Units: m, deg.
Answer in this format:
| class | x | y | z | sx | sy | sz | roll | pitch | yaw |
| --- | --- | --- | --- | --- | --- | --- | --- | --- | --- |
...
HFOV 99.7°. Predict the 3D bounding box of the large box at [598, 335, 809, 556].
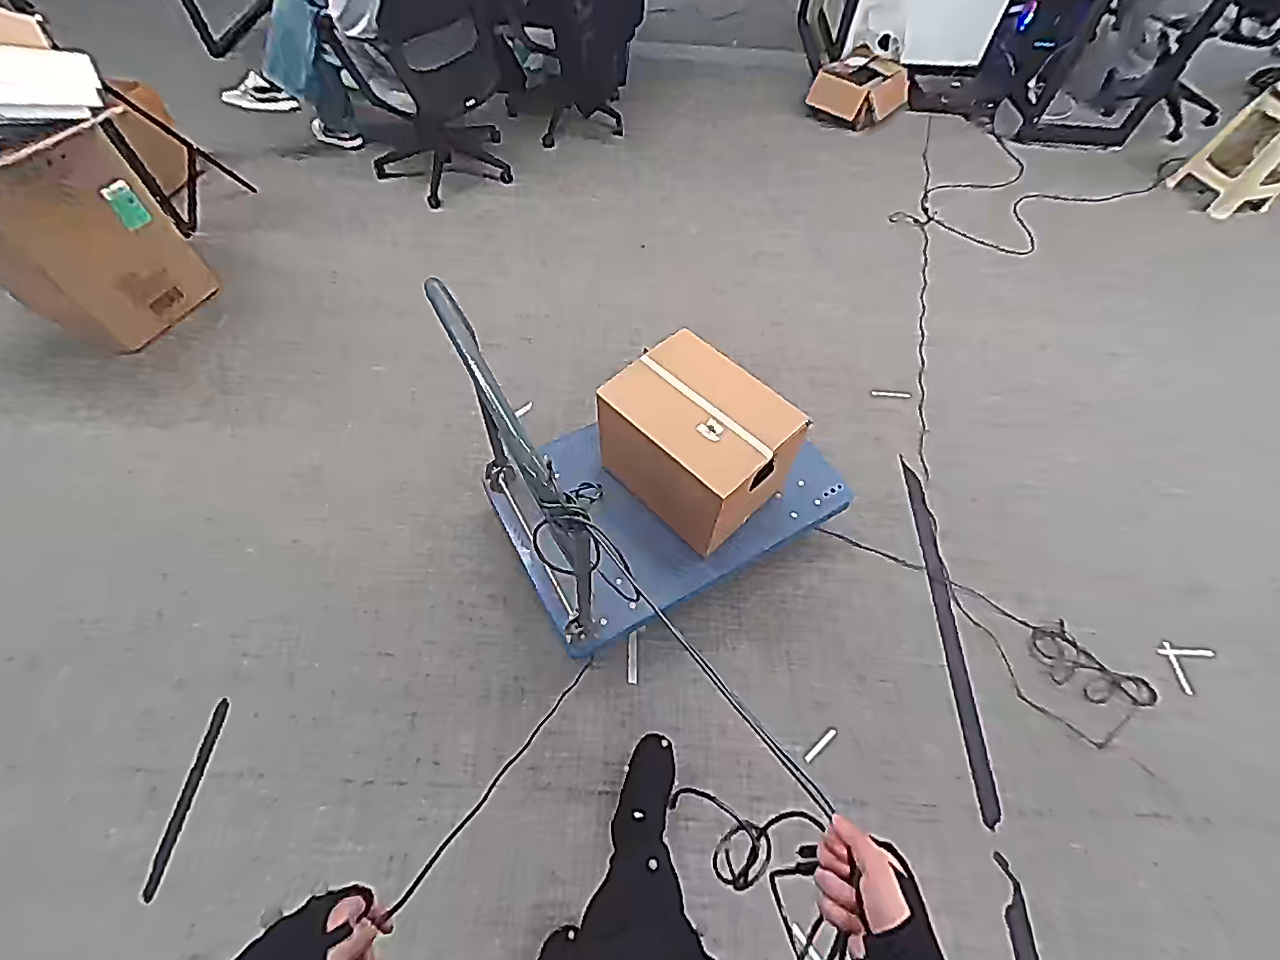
| class | x | y | z | sx | sy | sz | roll | pitch | yaw |
| --- | --- | --- | --- | --- | --- | --- | --- | --- | --- |
| large box | 0.136 | -0.086 | 1.375 | 0.320 | 0.320 | 0.408 | -40 | 68 | -22 |
